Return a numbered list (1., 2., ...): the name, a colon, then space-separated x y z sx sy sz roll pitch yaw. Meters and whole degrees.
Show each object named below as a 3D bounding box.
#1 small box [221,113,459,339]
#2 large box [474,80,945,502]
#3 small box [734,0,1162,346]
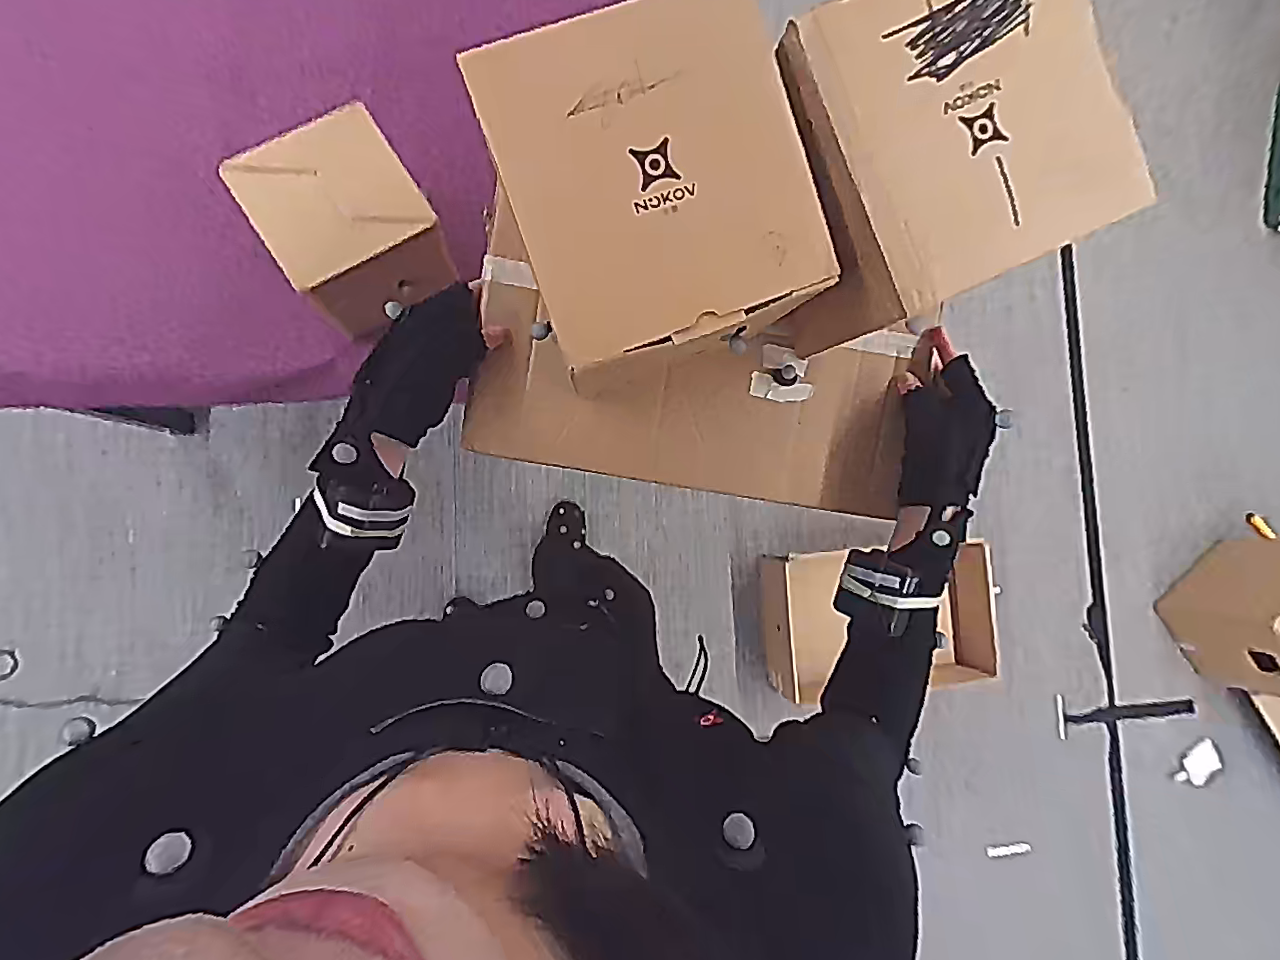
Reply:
1. small box: -0.360 -0.312 0.681 0.179 0.176 0.168 -33 91 -10
2. large box: 0.057 -0.165 0.618 0.408 0.320 0.320 8 94 -6
3. small box: 0.185 -0.216 0.379 0.168 0.176 0.179 -25 95 -2
